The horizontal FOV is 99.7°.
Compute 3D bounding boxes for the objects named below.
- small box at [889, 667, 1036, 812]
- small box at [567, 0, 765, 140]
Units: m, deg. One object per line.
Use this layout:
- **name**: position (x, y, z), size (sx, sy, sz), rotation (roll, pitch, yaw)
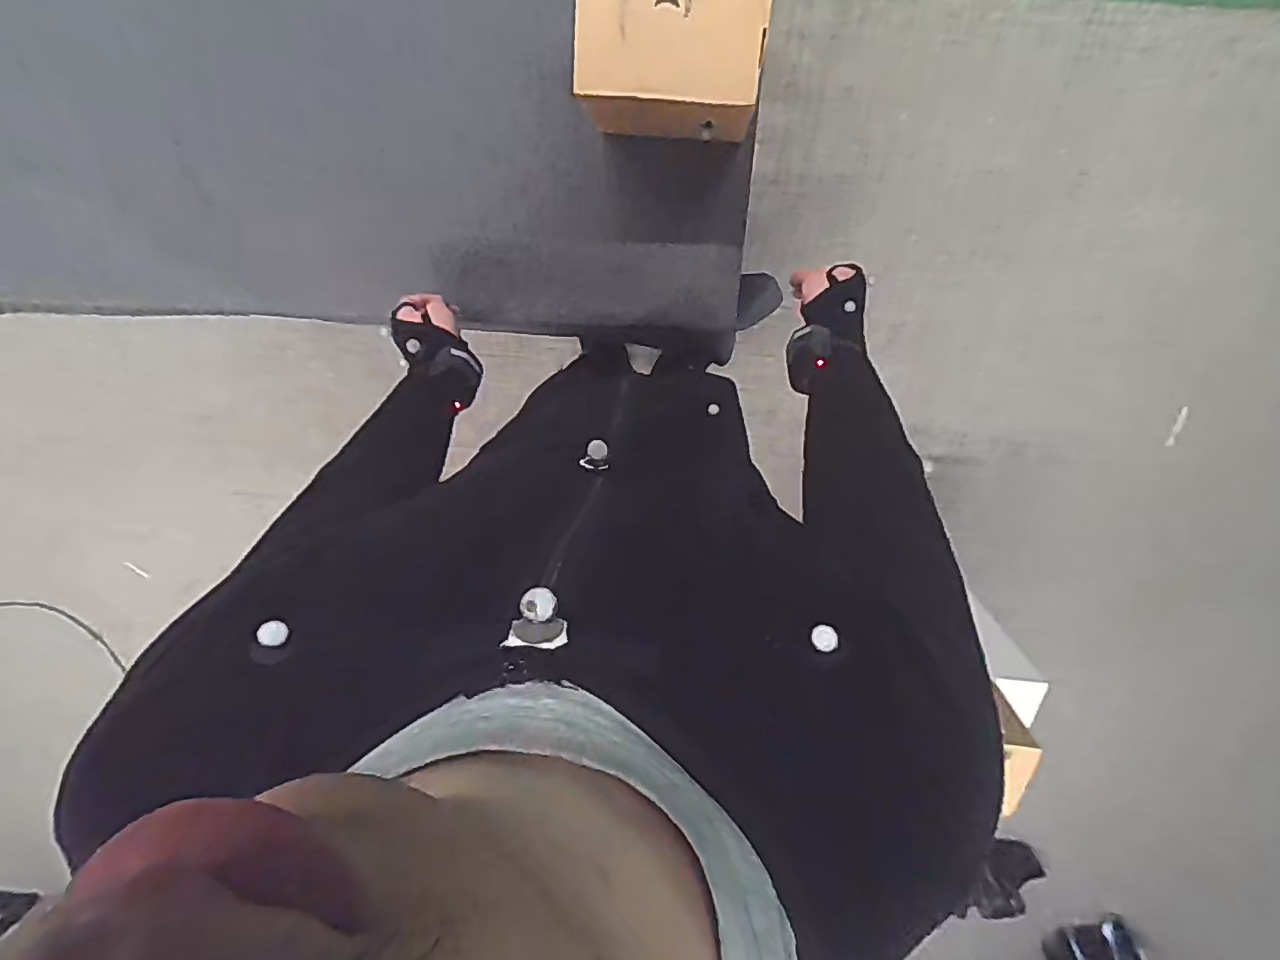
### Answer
- **small box**: position (0.597, 0.490, 1.034), size (0.168, 0.176, 0.179), rotation (6, 115, 3)
- **small box**: position (0.031, -0.458, 0.546), size (0.179, 0.176, 0.168), rotation (6, 112, 4)
